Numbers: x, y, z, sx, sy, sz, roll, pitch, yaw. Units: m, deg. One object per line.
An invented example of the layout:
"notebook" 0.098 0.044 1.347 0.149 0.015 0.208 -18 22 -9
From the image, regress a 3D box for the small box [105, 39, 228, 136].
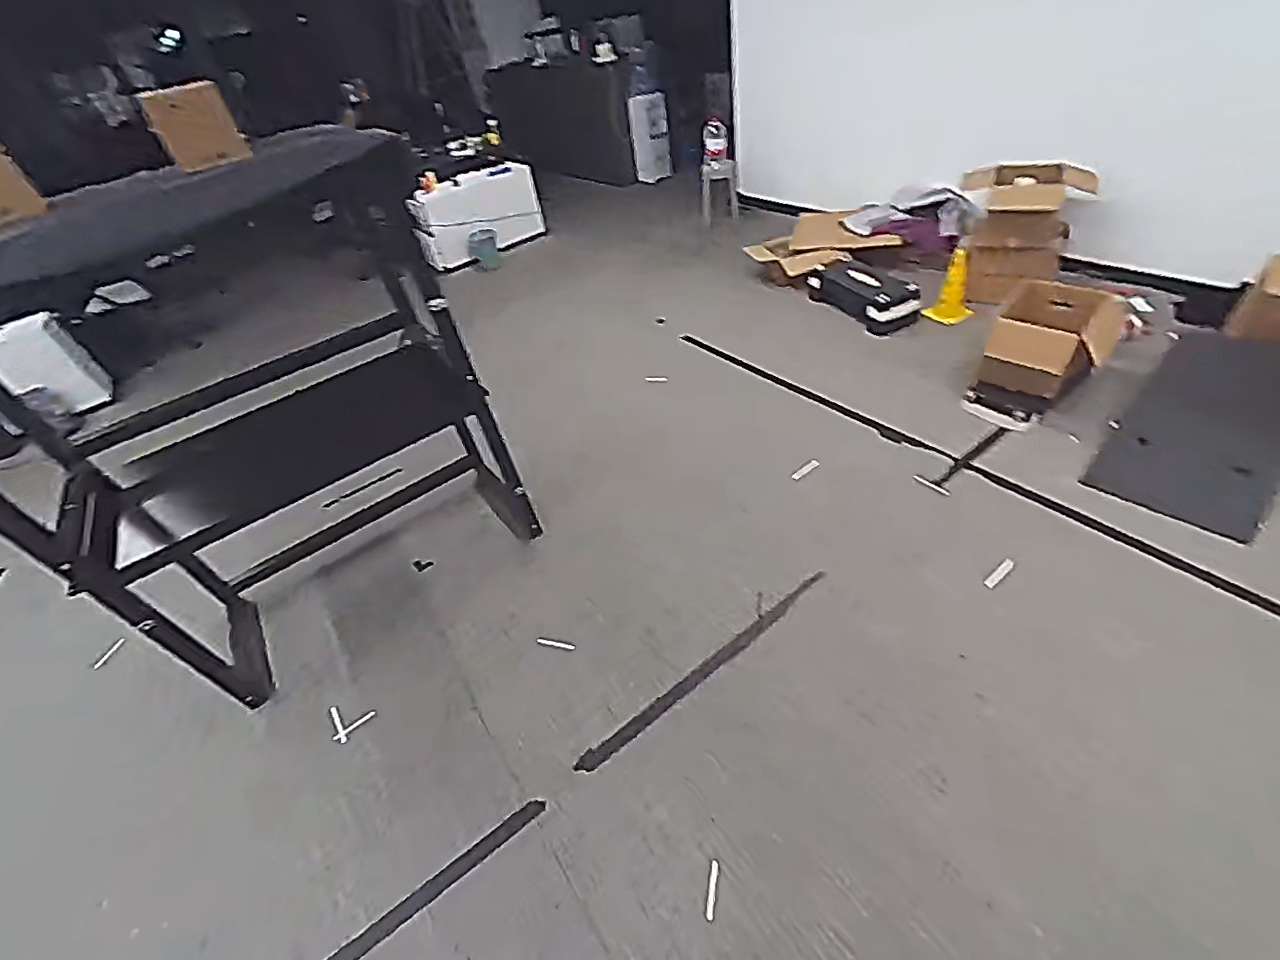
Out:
"small box" -1.174 -0.978 1.351 0.168 0.176 0.179 -32 46 -20

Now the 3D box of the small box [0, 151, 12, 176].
"small box" -1.543 -0.742 1.177 0.168 0.176 0.179 -35 48 -24
